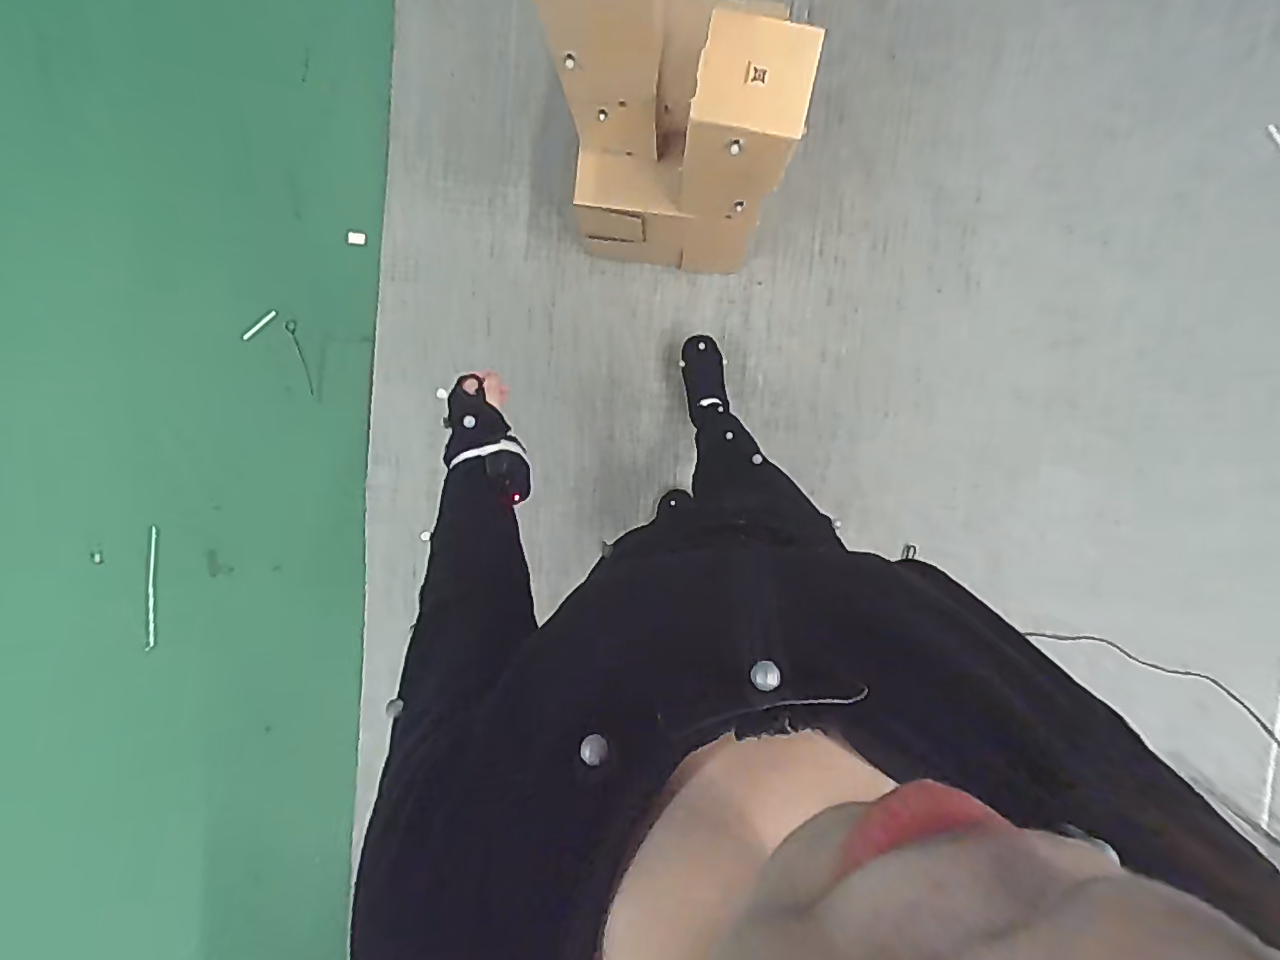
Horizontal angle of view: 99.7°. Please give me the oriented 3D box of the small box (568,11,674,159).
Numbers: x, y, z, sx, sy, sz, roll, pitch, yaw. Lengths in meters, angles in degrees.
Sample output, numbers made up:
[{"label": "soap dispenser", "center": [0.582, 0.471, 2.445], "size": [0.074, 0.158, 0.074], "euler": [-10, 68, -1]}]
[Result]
[{"label": "small box", "center": [-0.032, -0.769, 1.053], "size": [0.168, 0.176, 0.179], "euler": [11, 92, 4]}]

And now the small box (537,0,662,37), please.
[{"label": "small box", "center": [-0.056, -0.743, 0.725], "size": [0.179, 0.176, 0.168], "euler": [9, 93, 4]}]

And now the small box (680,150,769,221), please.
[{"label": "small box", "center": [0.174, -0.631, 1.047], "size": [0.168, 0.176, 0.179], "euler": [12, 92, 1]}]

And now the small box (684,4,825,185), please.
[{"label": "small box", "center": [0.176, -0.614, 0.885], "size": [0.179, 0.176, 0.168], "euler": [12, 93, 2]}]
